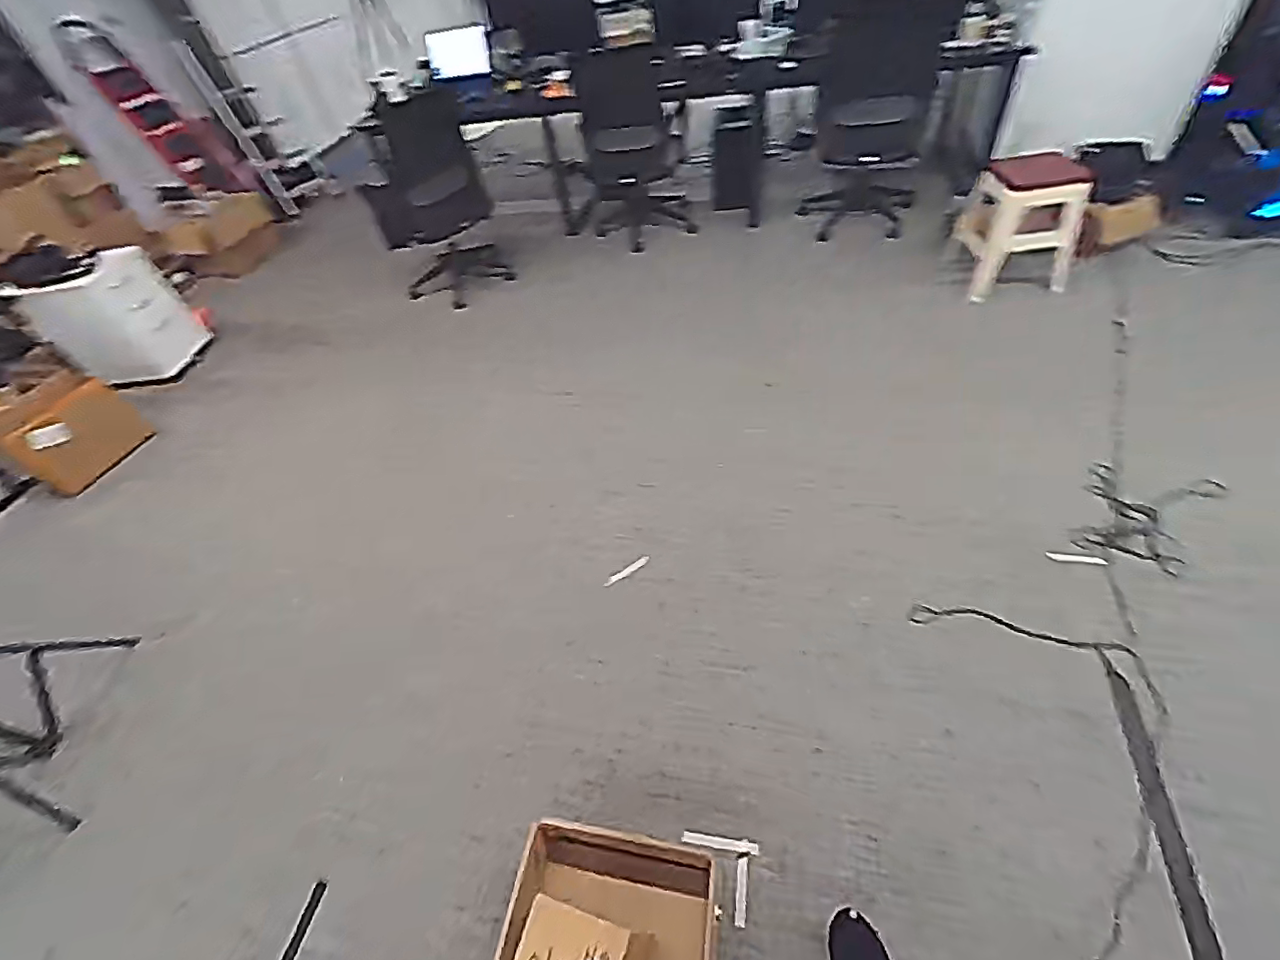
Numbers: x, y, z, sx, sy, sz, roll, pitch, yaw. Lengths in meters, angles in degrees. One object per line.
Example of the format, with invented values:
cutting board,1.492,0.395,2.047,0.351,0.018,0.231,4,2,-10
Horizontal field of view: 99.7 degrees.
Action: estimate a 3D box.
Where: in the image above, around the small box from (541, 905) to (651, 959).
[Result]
small box,-0.088,0.946,1.033,0.179,0.176,0.168,7,52,16
